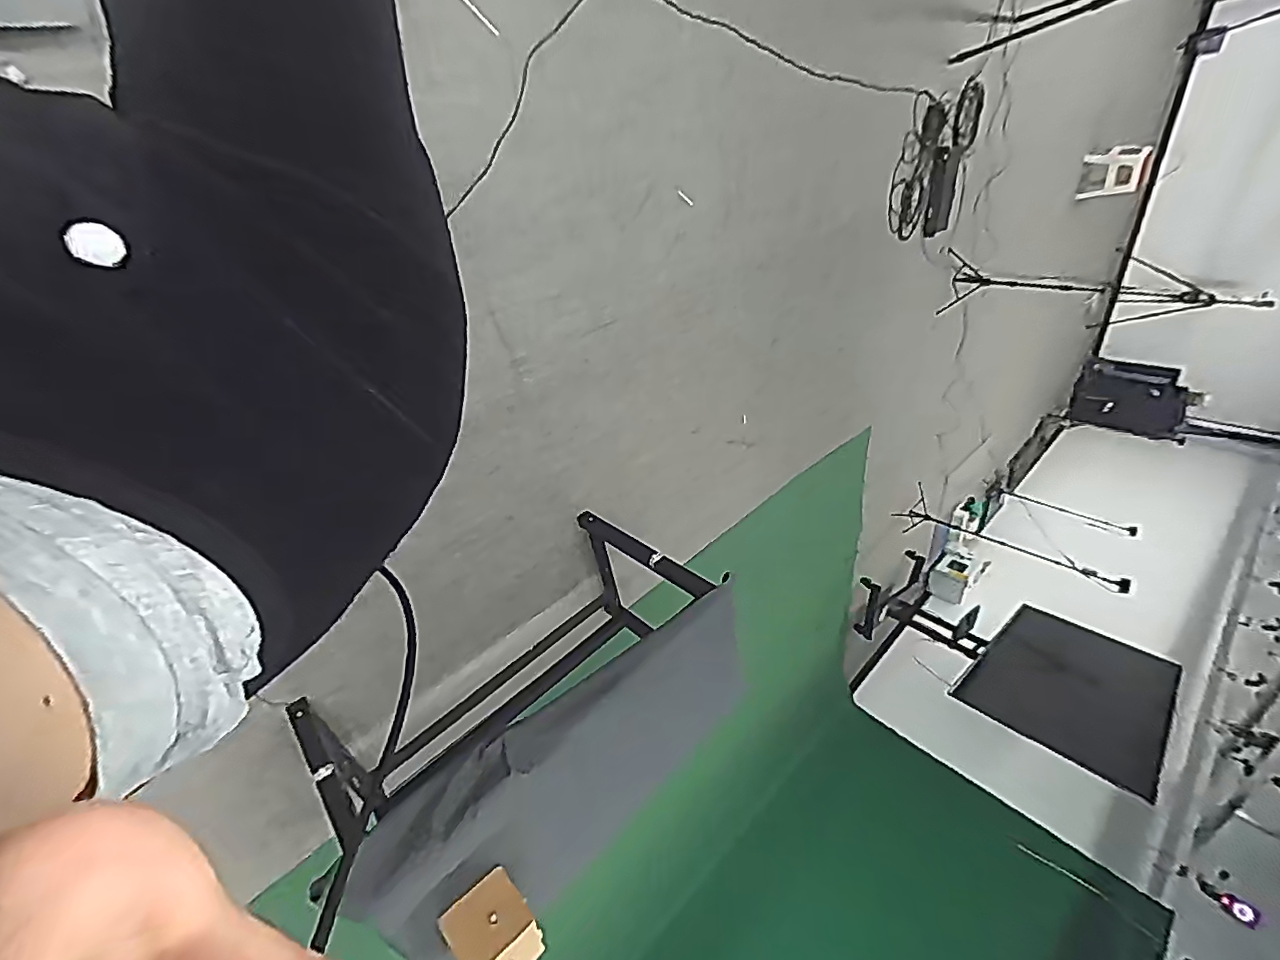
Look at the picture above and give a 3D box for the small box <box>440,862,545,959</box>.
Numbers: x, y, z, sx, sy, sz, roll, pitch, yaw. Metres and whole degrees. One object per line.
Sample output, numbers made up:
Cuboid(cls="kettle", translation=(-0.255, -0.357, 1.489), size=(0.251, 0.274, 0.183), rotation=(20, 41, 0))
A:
Cuboid(cls="small box", translation=(-0.362, 1.100, 1.331), size=(0.179, 0.176, 0.168), rotation=(-28, 126, -35))
